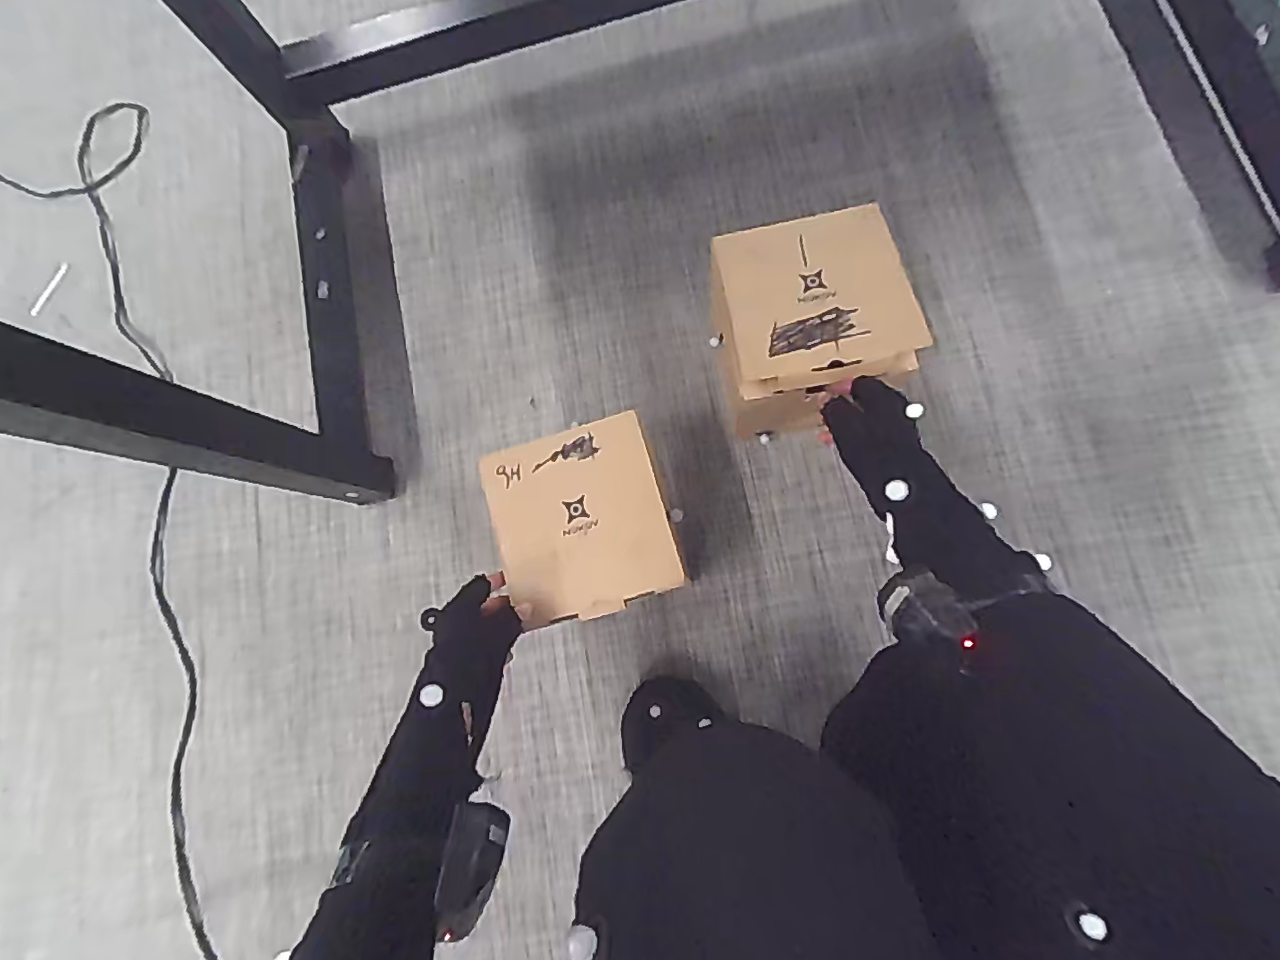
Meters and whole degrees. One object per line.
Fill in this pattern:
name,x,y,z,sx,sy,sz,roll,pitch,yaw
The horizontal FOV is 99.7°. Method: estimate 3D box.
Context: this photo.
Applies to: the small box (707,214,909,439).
small box,0.171,-0.151,0.600,0.168,0.176,0.179,-9,78,6
